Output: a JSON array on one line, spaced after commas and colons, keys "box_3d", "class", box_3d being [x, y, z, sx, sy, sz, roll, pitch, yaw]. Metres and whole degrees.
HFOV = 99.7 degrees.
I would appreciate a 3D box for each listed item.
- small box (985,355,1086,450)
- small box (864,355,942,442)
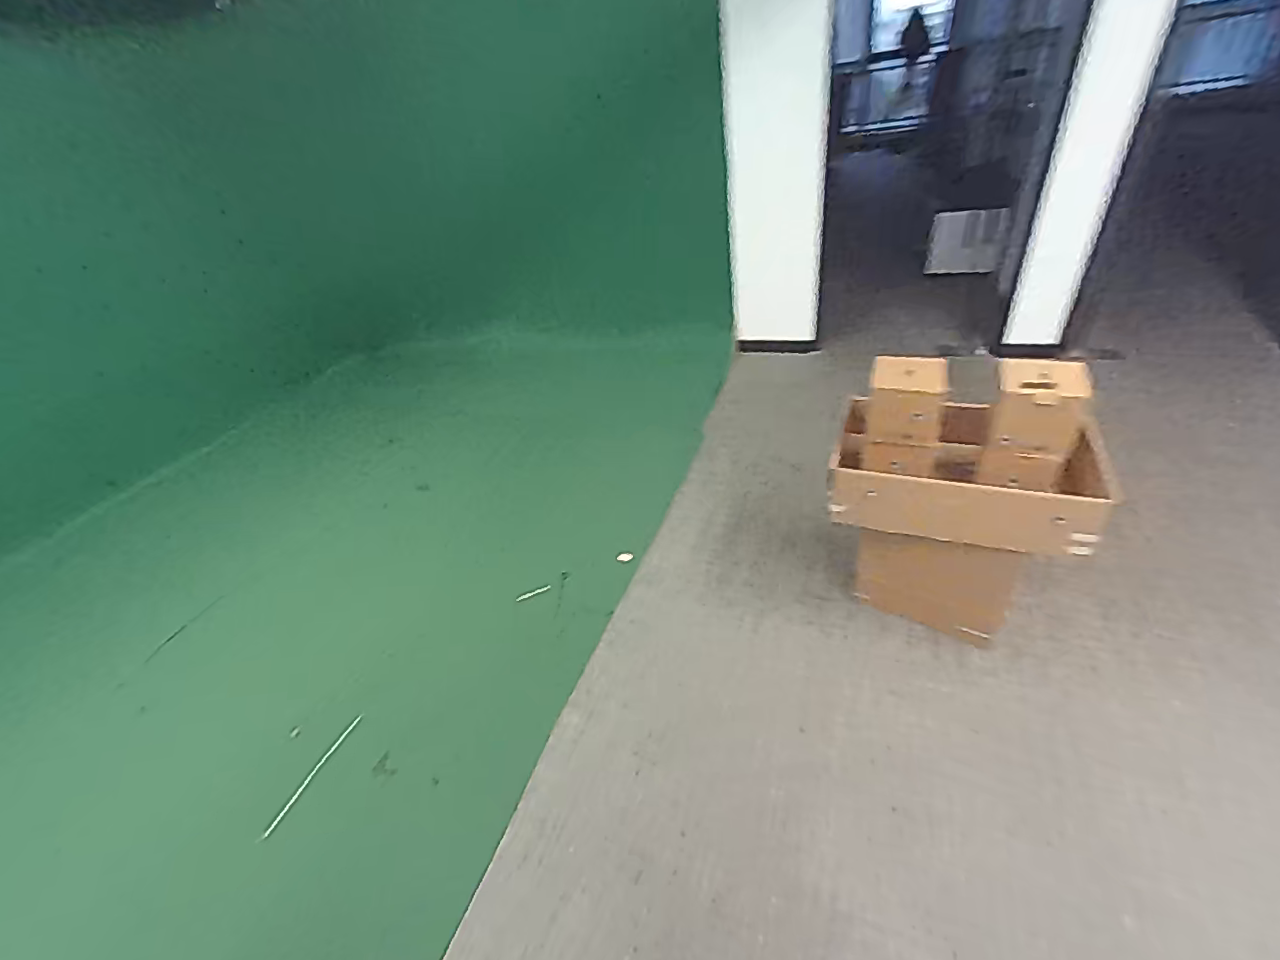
[{"box_3d": [0.960, -0.191, 1.326, 0.168, 0.176, 0.179, 9, 41, 26], "class": "small box"}, {"box_3d": [0.694, -0.217, 1.433, 0.168, 0.176, 0.179, 8, 41, 24], "class": "small box"}]
